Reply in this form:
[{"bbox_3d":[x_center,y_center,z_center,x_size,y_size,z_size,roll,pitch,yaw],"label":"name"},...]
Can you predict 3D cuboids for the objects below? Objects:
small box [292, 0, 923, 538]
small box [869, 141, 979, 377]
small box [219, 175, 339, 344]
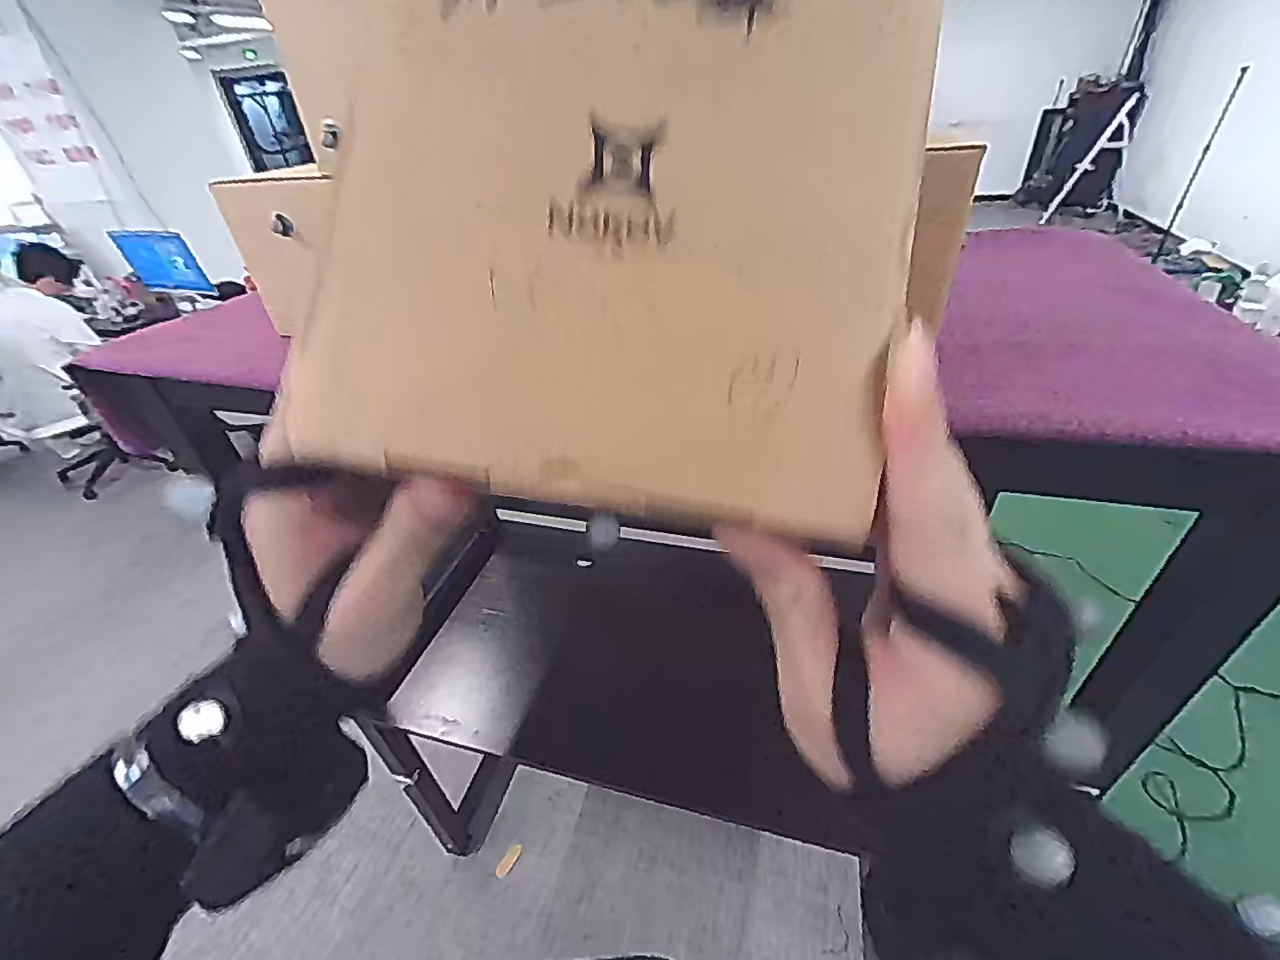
[{"bbox_3d":[-0.003,-0.075,0.236,0.168,0.179,0.176,9,-4,5],"label":"small box"},{"bbox_3d":[0.183,-0.205,0.504,0.179,0.176,0.168,5,35,17],"label":"small box"},{"bbox_3d":[-0.338,-0.268,0.656,0.179,0.176,0.168,5,37,14],"label":"small box"}]
